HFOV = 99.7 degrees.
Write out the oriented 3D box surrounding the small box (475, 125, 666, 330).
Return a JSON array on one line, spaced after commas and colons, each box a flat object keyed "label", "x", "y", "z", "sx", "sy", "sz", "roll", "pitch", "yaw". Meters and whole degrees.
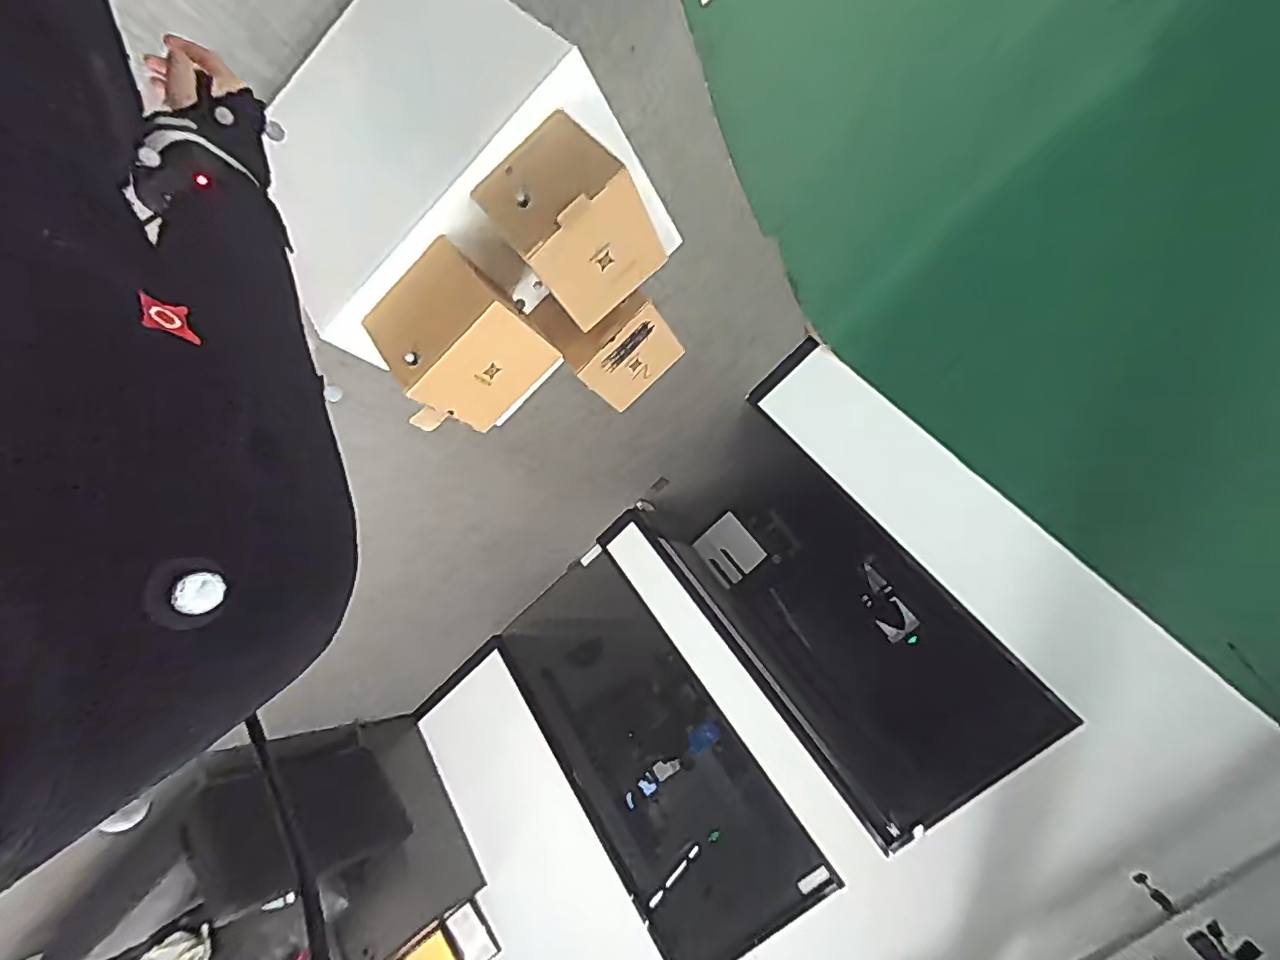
[{"label": "small box", "x": -0.096, "y": -0.354, "z": 0.758, "sx": 0.168, "sy": 0.176, "sz": 0.179, "roll": -40, "pitch": 156, "yaw": 6}]
